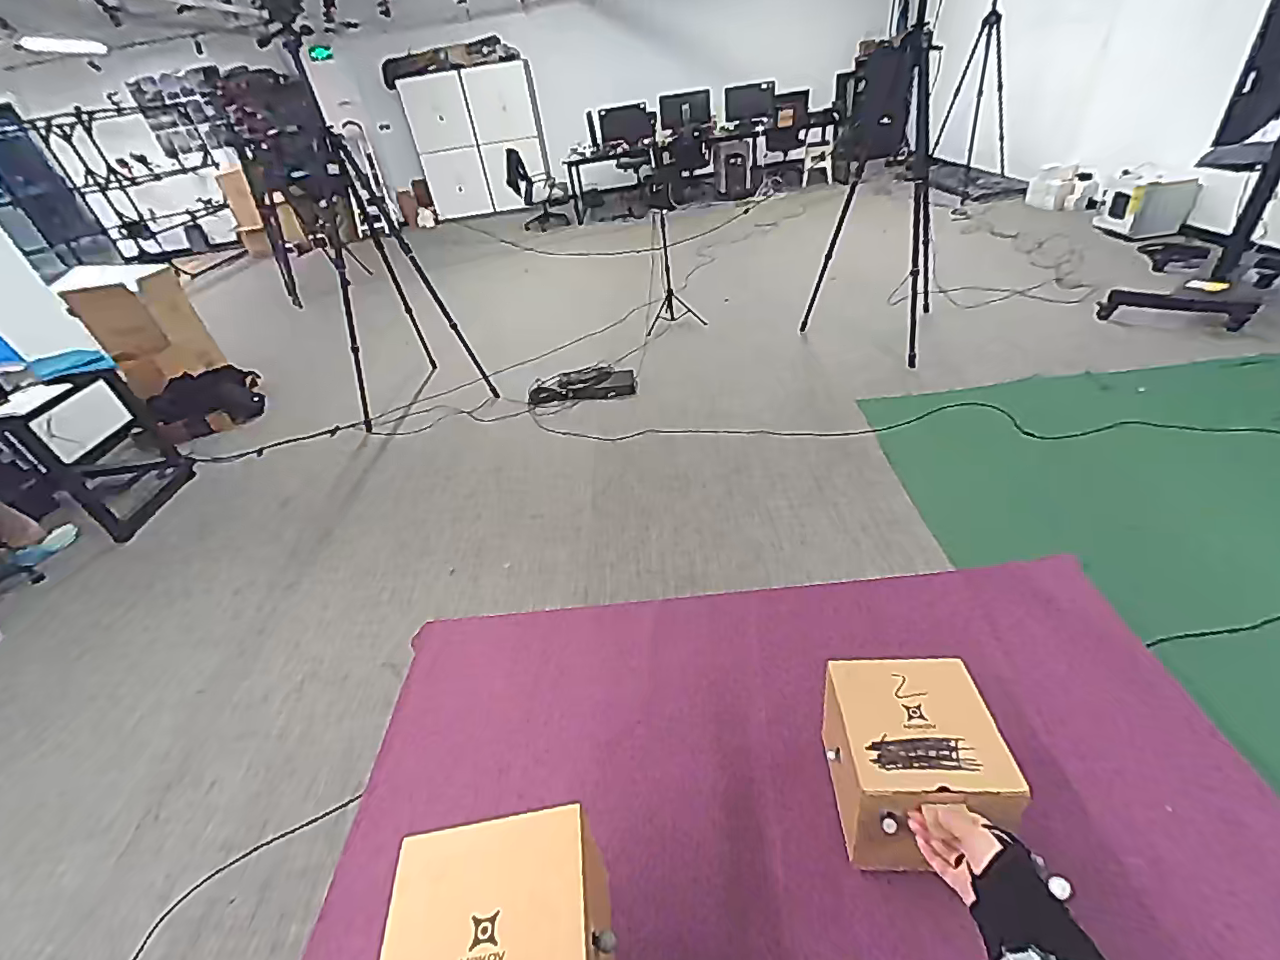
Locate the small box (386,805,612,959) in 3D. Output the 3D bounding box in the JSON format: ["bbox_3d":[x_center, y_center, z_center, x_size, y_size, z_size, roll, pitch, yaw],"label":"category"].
[{"bbox_3d":[-0.117,0.436,0.490,0.168,0.176,0.179,-10,37,-2],"label":"small box"}]
